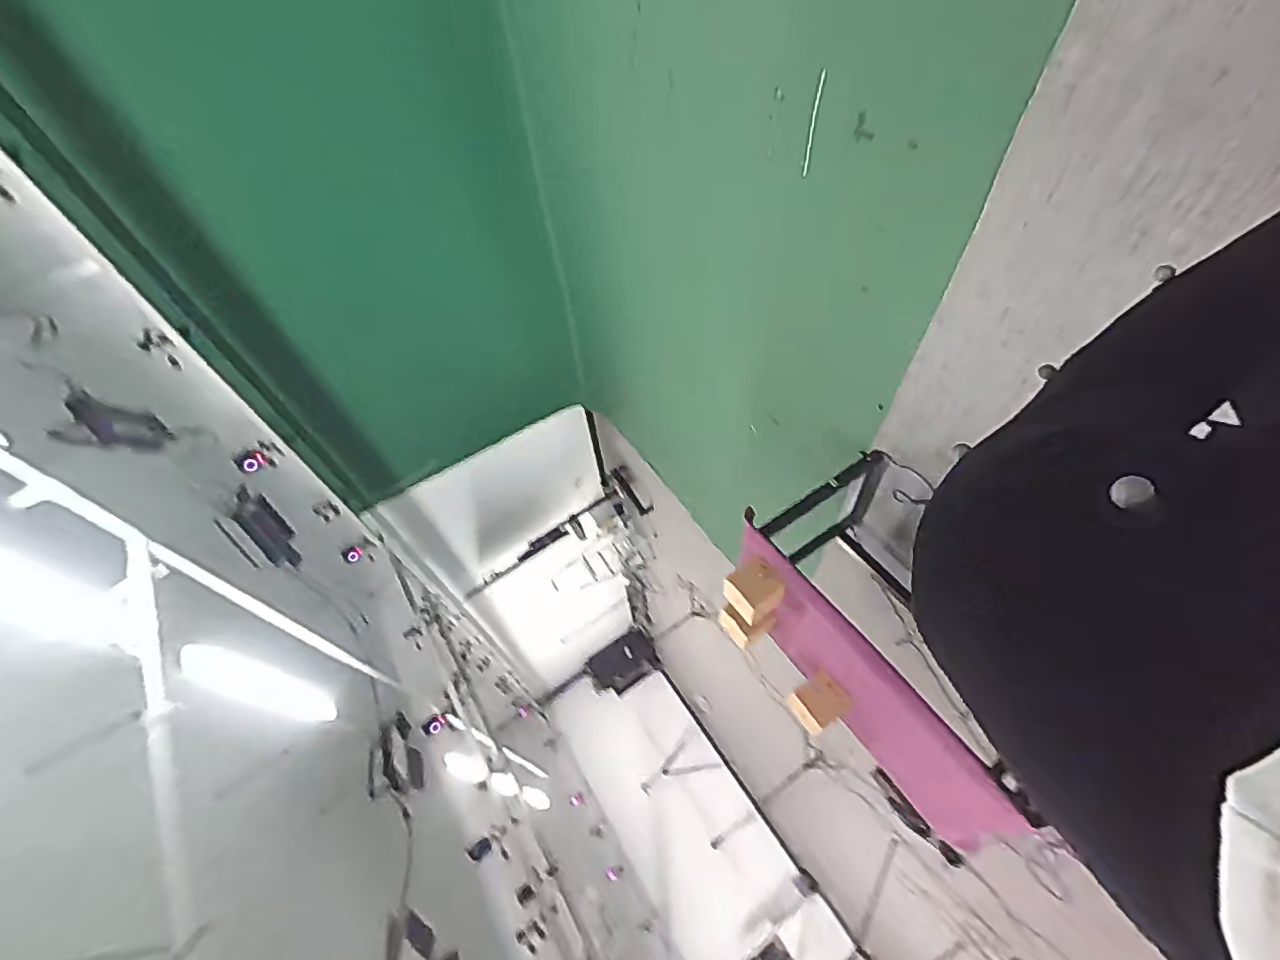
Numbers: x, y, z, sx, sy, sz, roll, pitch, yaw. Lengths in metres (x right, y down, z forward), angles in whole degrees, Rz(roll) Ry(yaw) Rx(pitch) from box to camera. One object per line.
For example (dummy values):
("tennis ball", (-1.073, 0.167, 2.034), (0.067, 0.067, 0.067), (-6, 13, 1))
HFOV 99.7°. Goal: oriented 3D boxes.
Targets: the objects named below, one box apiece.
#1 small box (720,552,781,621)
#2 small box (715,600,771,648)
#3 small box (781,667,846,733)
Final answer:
("small box", (0.435, 0.421, 2.134), (0.168, 0.176, 0.179), (48, 161, 30))
("small box", (0.458, 0.604, 2.391), (0.168, 0.176, 0.179), (50, 159, 29))
("small box", (0.698, 0.882, 2.173), (0.168, 0.176, 0.179), (52, 162, 28))
